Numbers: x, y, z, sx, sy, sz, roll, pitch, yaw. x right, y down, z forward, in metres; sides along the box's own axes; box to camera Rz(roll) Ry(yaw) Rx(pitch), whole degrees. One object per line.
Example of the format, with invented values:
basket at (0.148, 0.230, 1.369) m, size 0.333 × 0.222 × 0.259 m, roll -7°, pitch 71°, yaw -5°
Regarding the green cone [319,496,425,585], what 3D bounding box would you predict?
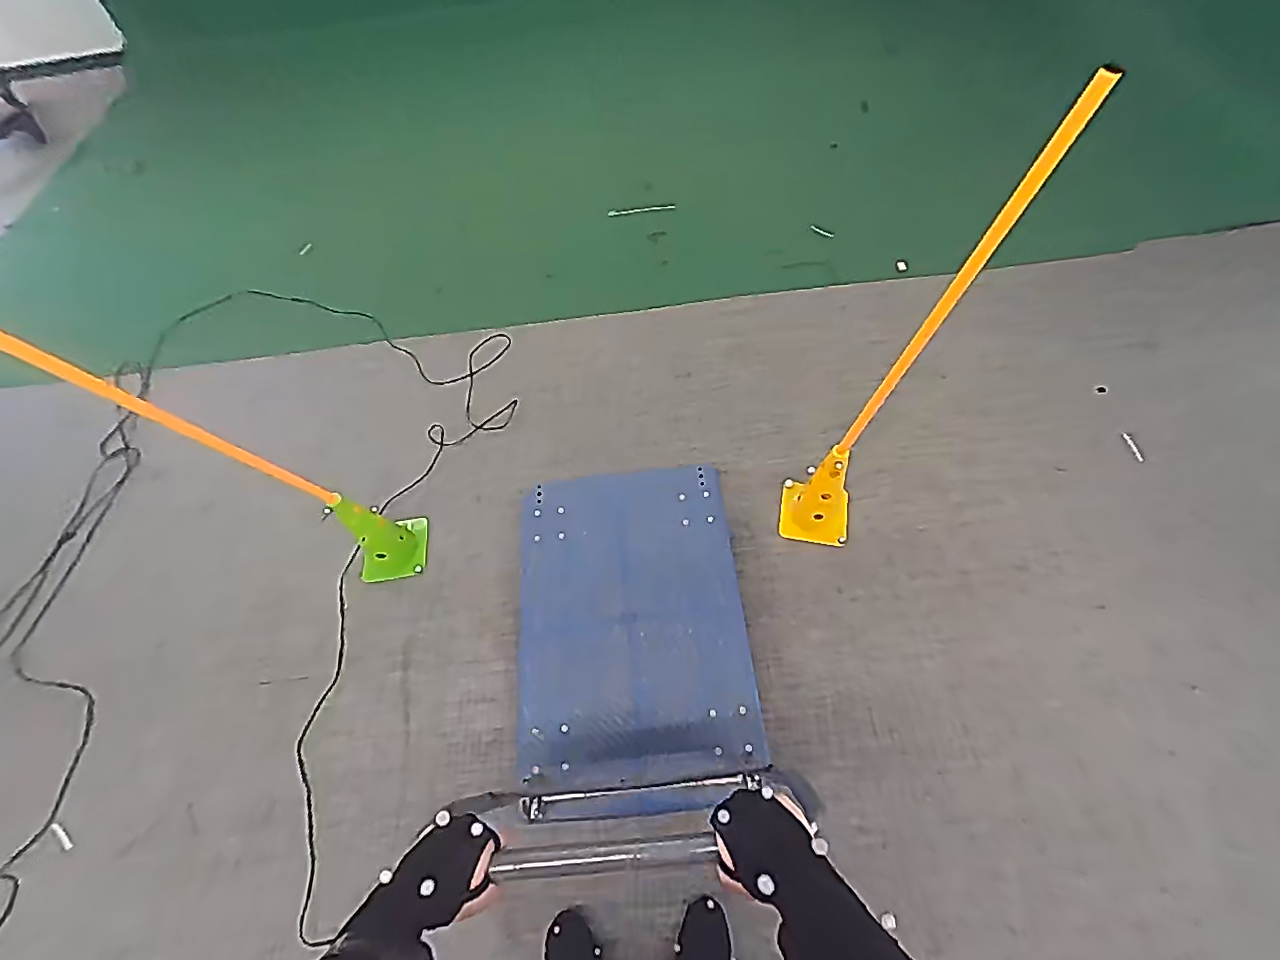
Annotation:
green cone at (-0.809, 0.143, 1.587) m, size 0.202 × 0.368 × 0.200 m, roll -11°, pitch 59°, yaw 1°
